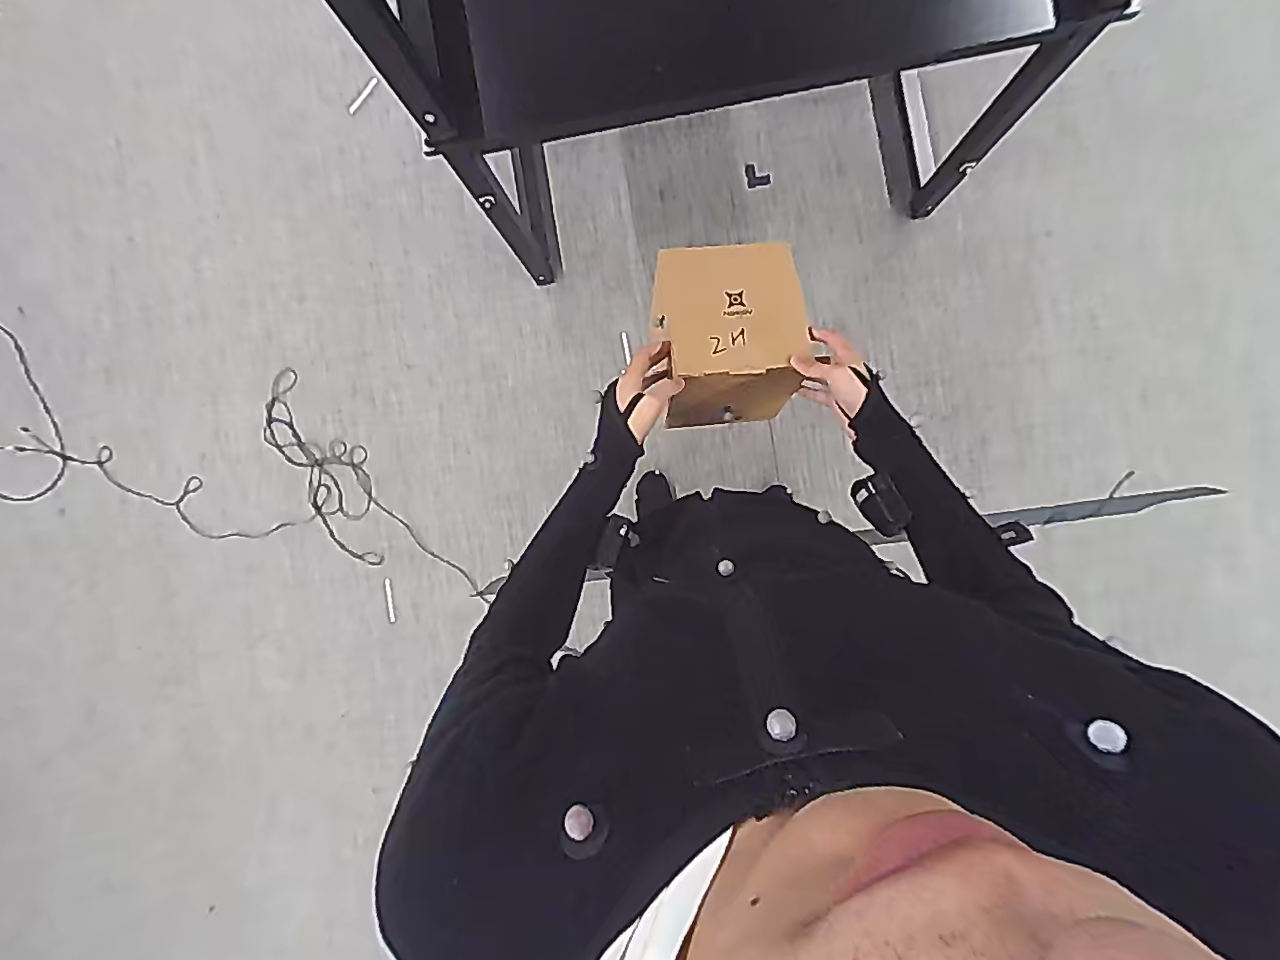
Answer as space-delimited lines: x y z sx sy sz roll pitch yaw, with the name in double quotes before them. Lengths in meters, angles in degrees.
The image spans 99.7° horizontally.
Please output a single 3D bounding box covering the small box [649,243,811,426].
"small box" 0.106 -0.187 0.724 0.168 0.176 0.179 -5 75 -5
